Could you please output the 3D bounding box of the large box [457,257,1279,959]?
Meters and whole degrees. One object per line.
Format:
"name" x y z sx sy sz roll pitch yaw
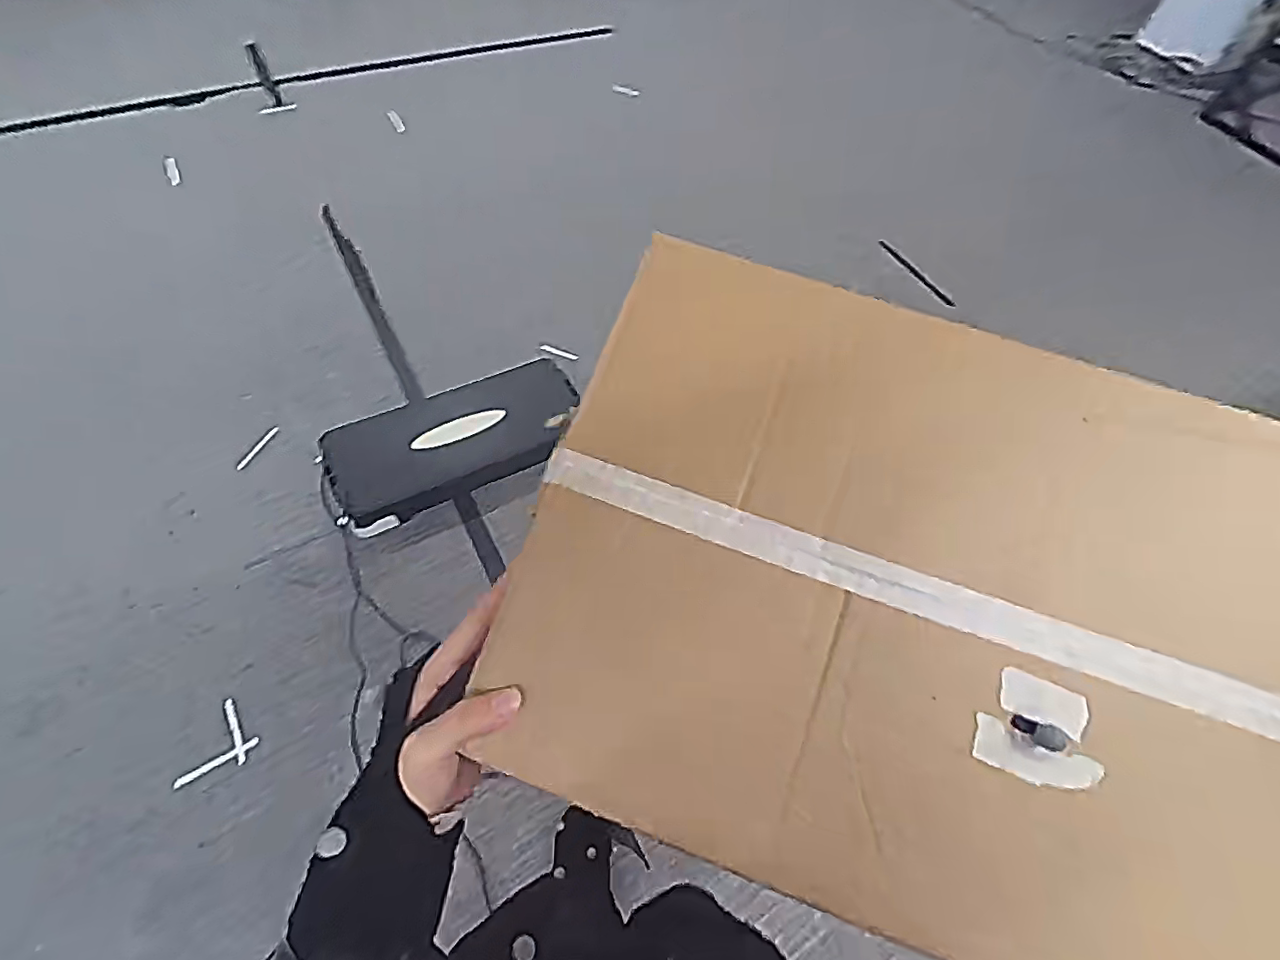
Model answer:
"large box" 0.138 0.090 0.434 0.408 0.320 0.320 18 79 5
